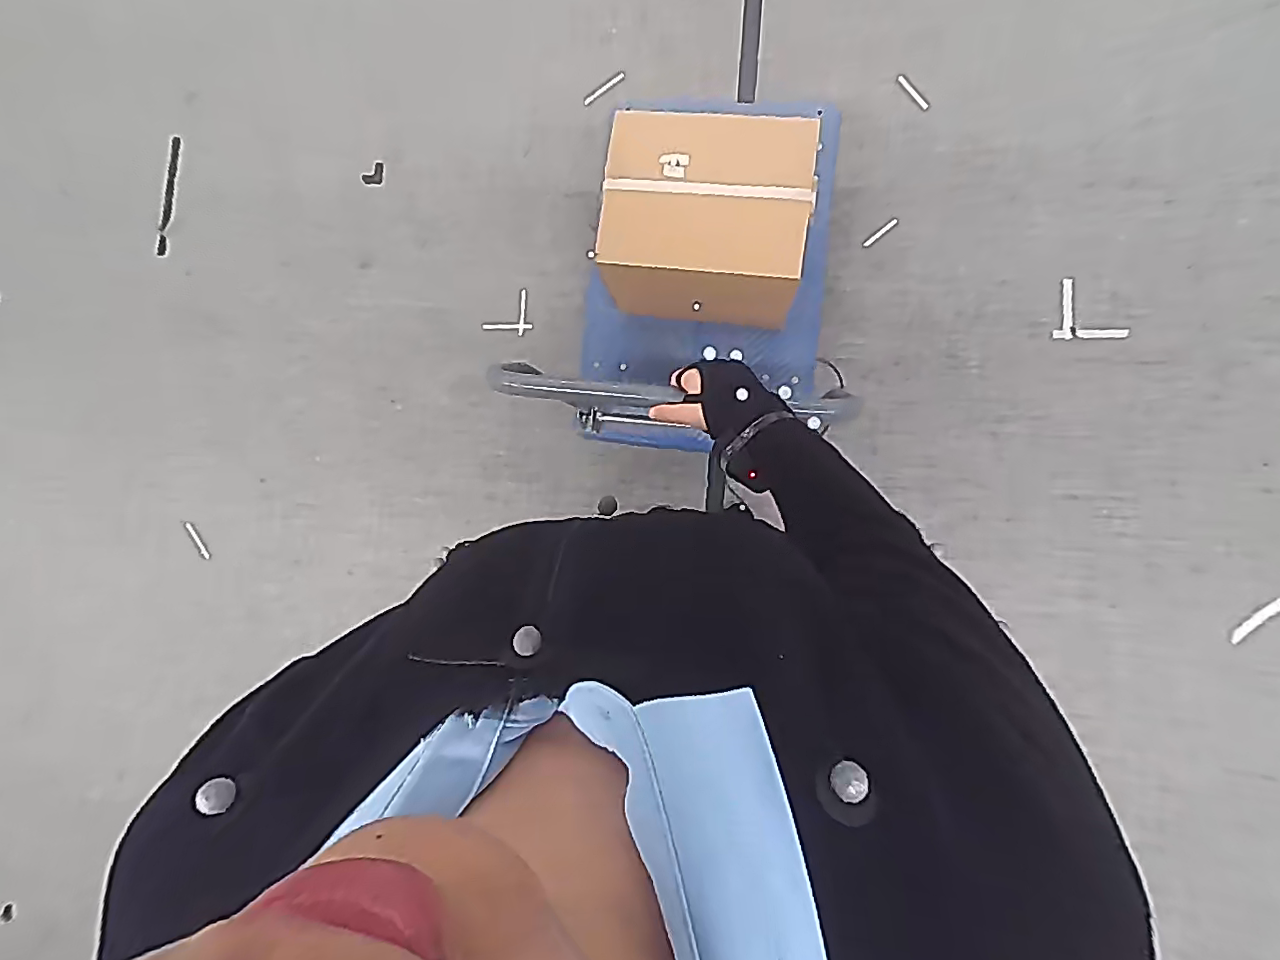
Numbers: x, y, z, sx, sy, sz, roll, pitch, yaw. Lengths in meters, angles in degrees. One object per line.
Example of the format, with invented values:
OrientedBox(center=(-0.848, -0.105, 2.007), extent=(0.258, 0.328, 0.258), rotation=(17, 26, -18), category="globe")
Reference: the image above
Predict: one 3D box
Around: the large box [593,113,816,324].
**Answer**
OrientedBox(center=(0.143, -0.548, 1.183), extent=(0.408, 0.320, 0.320), rotation=(8, 87, 9), category="large box")
